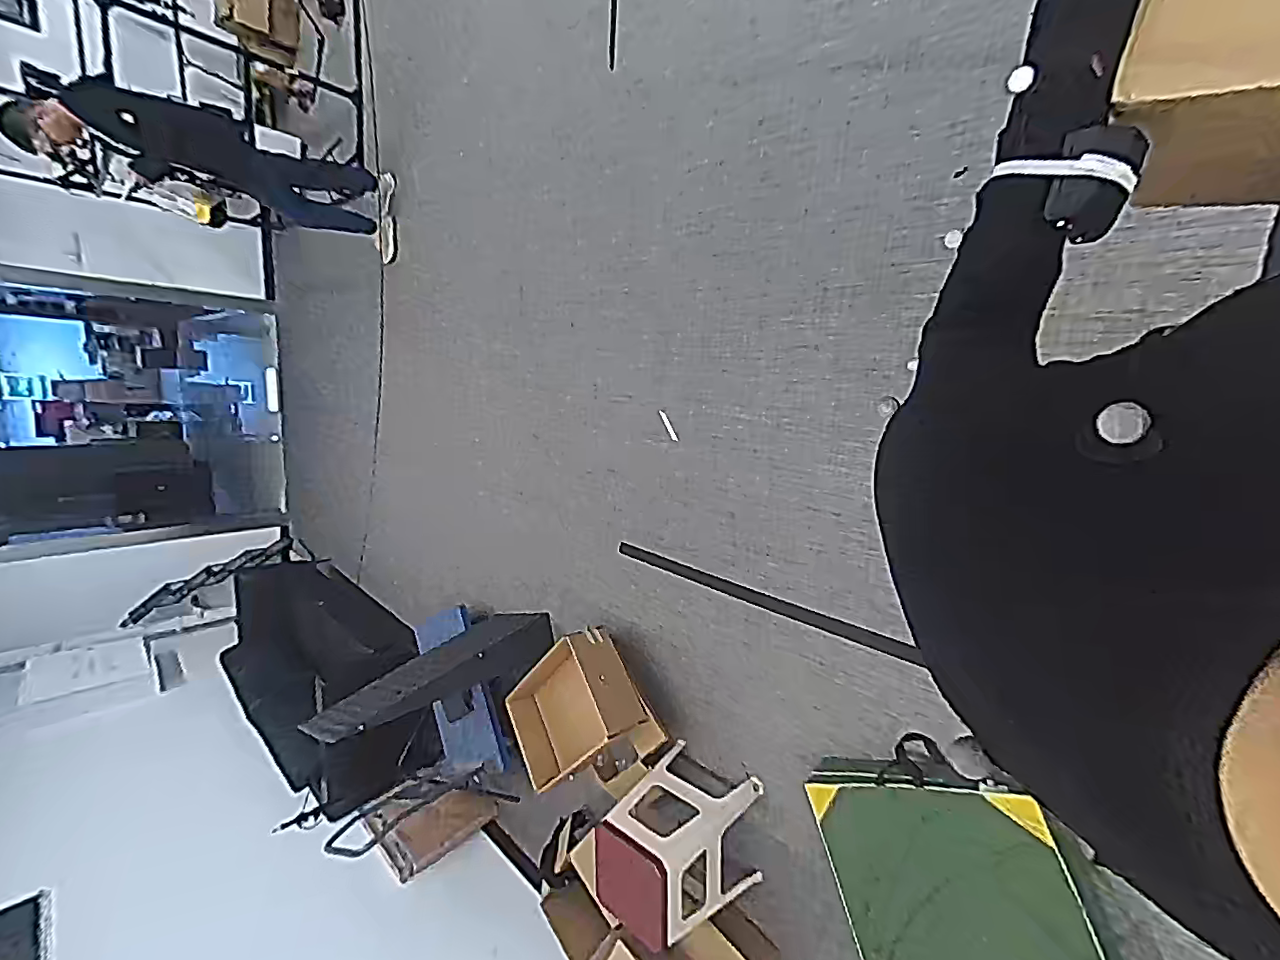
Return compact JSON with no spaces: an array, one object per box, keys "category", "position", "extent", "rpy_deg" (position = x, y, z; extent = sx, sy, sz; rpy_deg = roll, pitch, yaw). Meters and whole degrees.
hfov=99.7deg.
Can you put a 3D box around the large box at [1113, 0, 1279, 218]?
[{"category":"large box","position":[0.595,-0.365,0.329],"extent":[0.408,0.320,0.320],"rpy_deg":[21,112,39]}]
